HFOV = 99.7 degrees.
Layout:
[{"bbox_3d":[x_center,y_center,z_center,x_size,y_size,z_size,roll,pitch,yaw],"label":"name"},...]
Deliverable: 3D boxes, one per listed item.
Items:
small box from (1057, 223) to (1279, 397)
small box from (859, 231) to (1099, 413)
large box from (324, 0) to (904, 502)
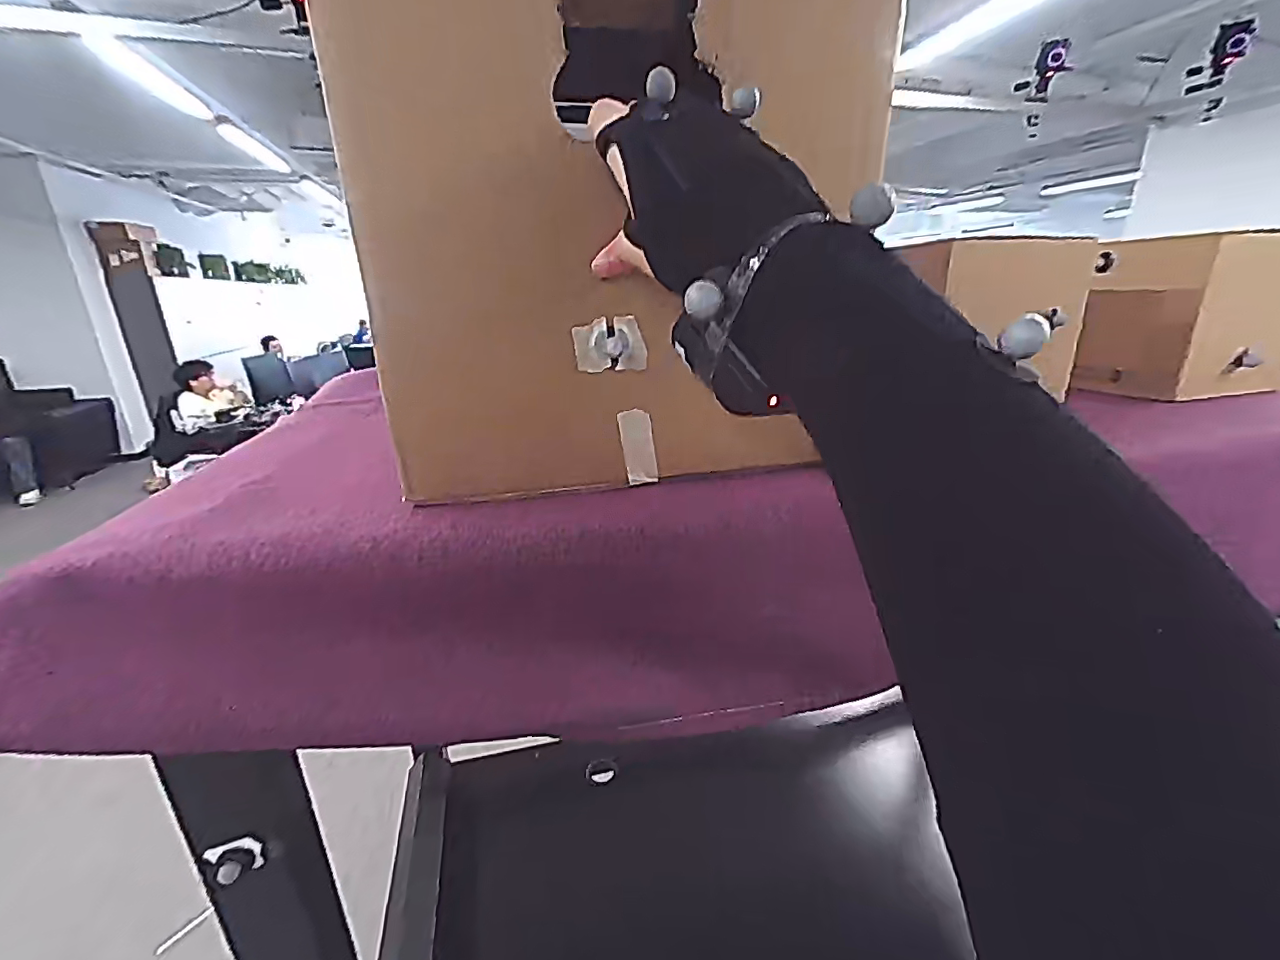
[{"bbox_3d":[0.610,-0.196,0.632,0.179,0.176,0.168,-7,18,-15],"label":"small box"},{"bbox_3d":[0.344,-0.175,0.602,0.179,0.176,0.168,-7,18,-13],"label":"small box"},{"bbox_3d":[-0.040,-0.206,0.485,0.320,0.320,0.408,-5,21,-12],"label":"large box"}]
